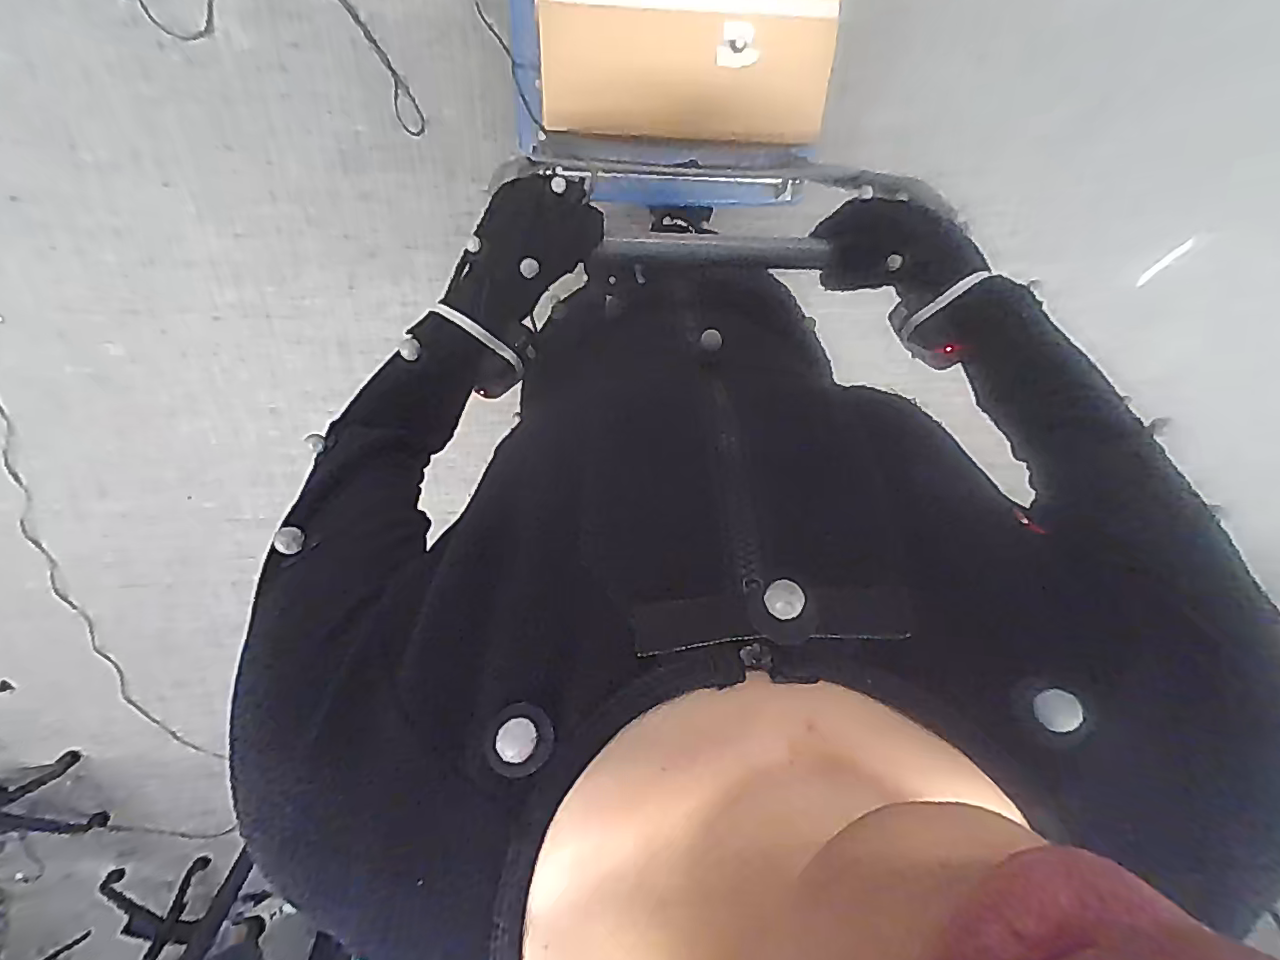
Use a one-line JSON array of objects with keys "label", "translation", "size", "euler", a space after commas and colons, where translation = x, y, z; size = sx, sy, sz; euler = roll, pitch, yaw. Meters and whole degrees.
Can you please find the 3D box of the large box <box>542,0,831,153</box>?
[{"label": "large box", "translation": [0.053, -0.716, 0.865], "size": [0.408, 0.320, 0.320], "euler": [-1, 119, -5]}]
